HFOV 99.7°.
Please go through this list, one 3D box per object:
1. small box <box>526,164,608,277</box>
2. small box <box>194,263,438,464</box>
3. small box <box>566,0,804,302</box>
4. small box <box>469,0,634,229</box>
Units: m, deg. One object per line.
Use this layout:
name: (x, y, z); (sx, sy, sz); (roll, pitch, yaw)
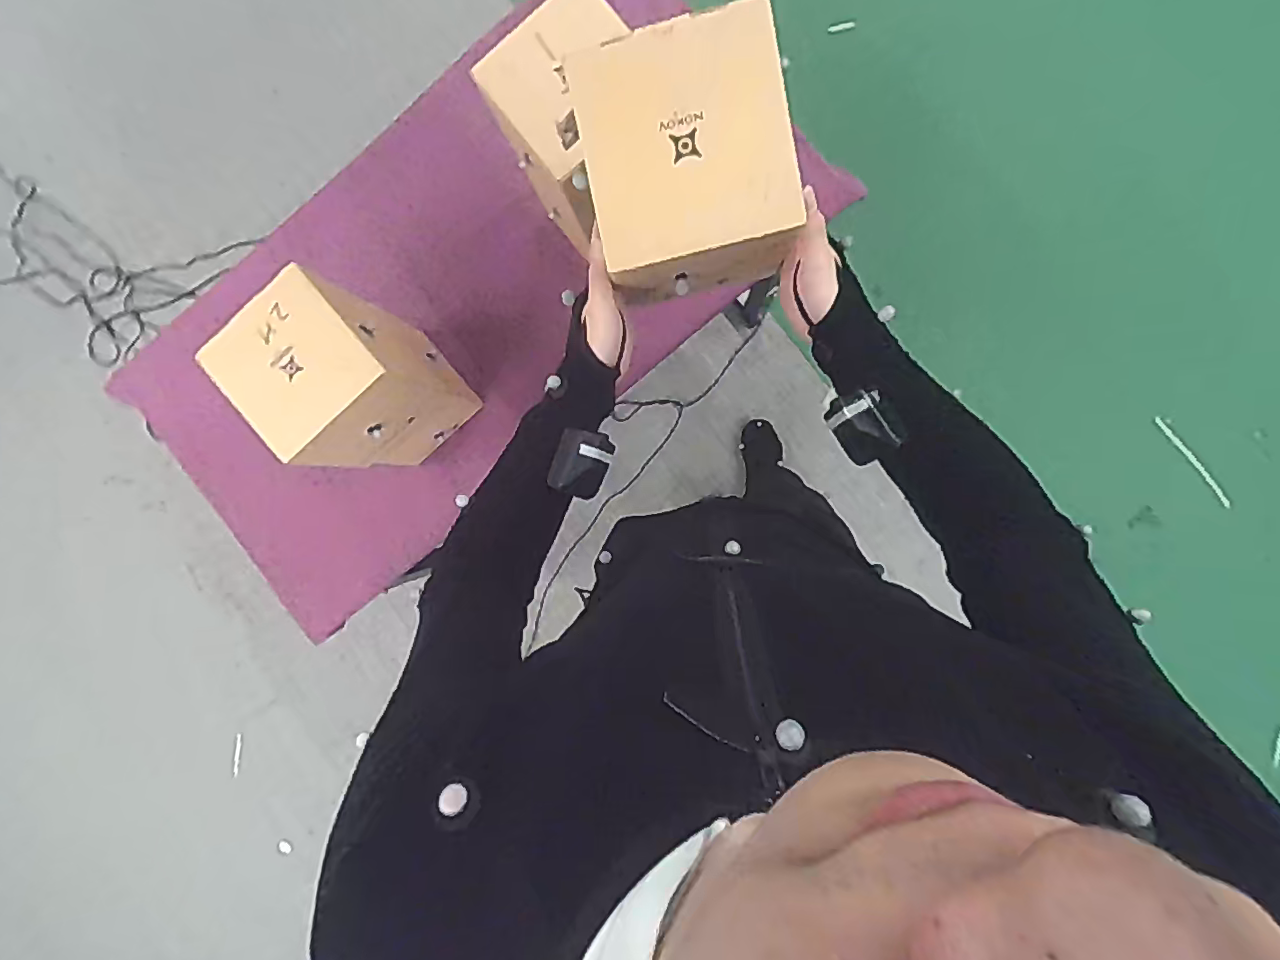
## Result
small box: (-0.054, -0.450, 0.839); (0.168, 0.176, 0.179); (-37, 86, 5)
small box: (-0.401, -0.137, 0.704); (0.168, 0.176, 0.179); (-41, 87, 3)
small box: (0.046, -0.276, 0.504); (0.168, 0.176, 0.179); (-11, 96, 8)
small box: (-0.070, -0.448, 0.676); (0.168, 0.176, 0.179); (-38, 84, 6)
